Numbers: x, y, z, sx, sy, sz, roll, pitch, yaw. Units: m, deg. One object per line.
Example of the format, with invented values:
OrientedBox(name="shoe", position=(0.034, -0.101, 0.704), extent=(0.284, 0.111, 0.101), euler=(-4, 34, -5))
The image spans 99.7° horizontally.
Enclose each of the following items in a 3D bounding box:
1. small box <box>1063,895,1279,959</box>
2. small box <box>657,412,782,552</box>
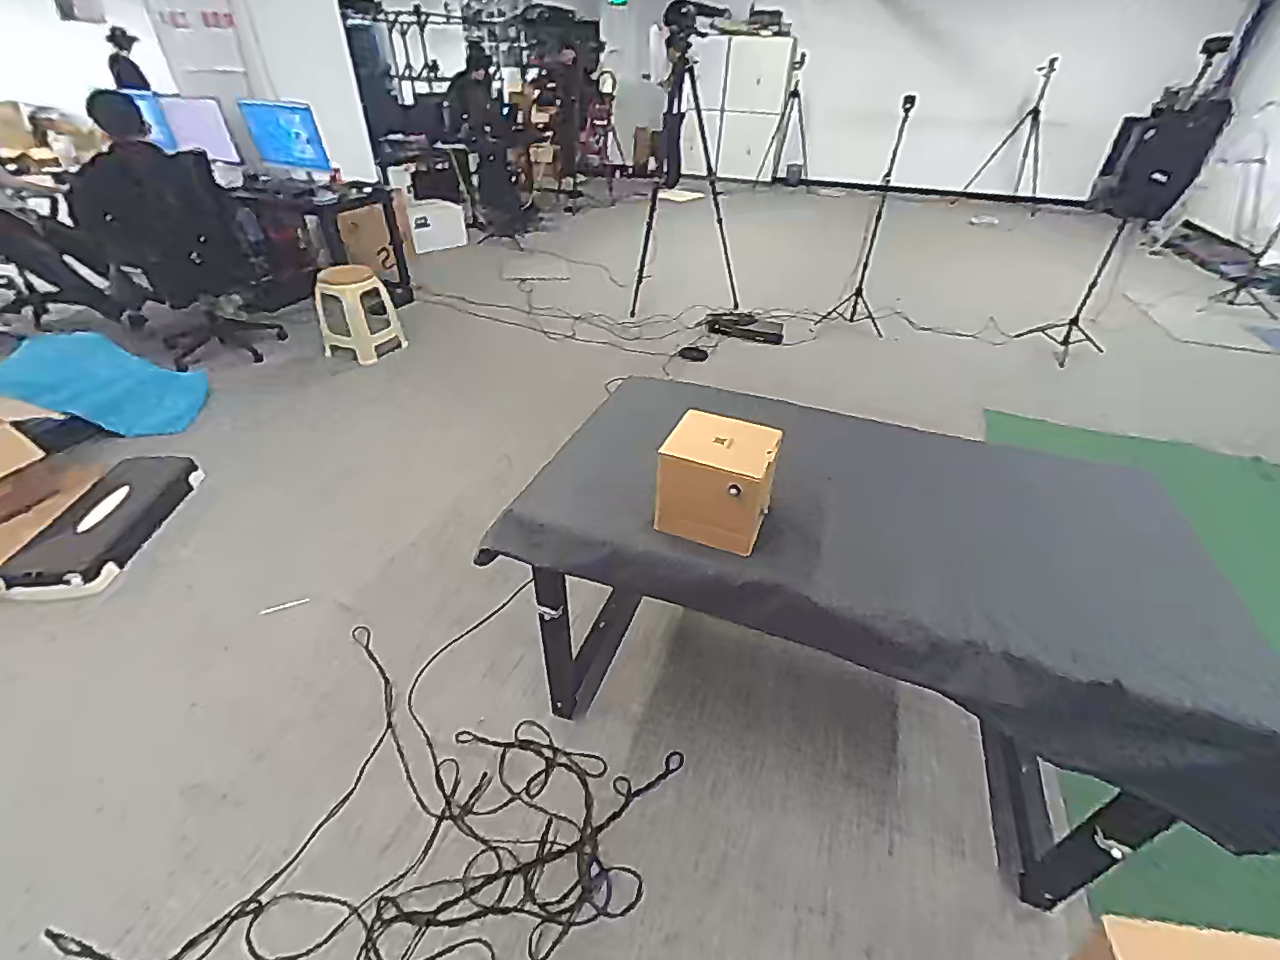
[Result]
OrientedBox(name="small box", position=(0.445, 0.441, 0.388), extent=(0.168, 0.176, 0.179), euler=(-4, 37, 17))
OrientedBox(name="small box", position=(0.137, 0.002, 0.959), extent=(0.179, 0.176, 0.168), euler=(15, 38, 17))
